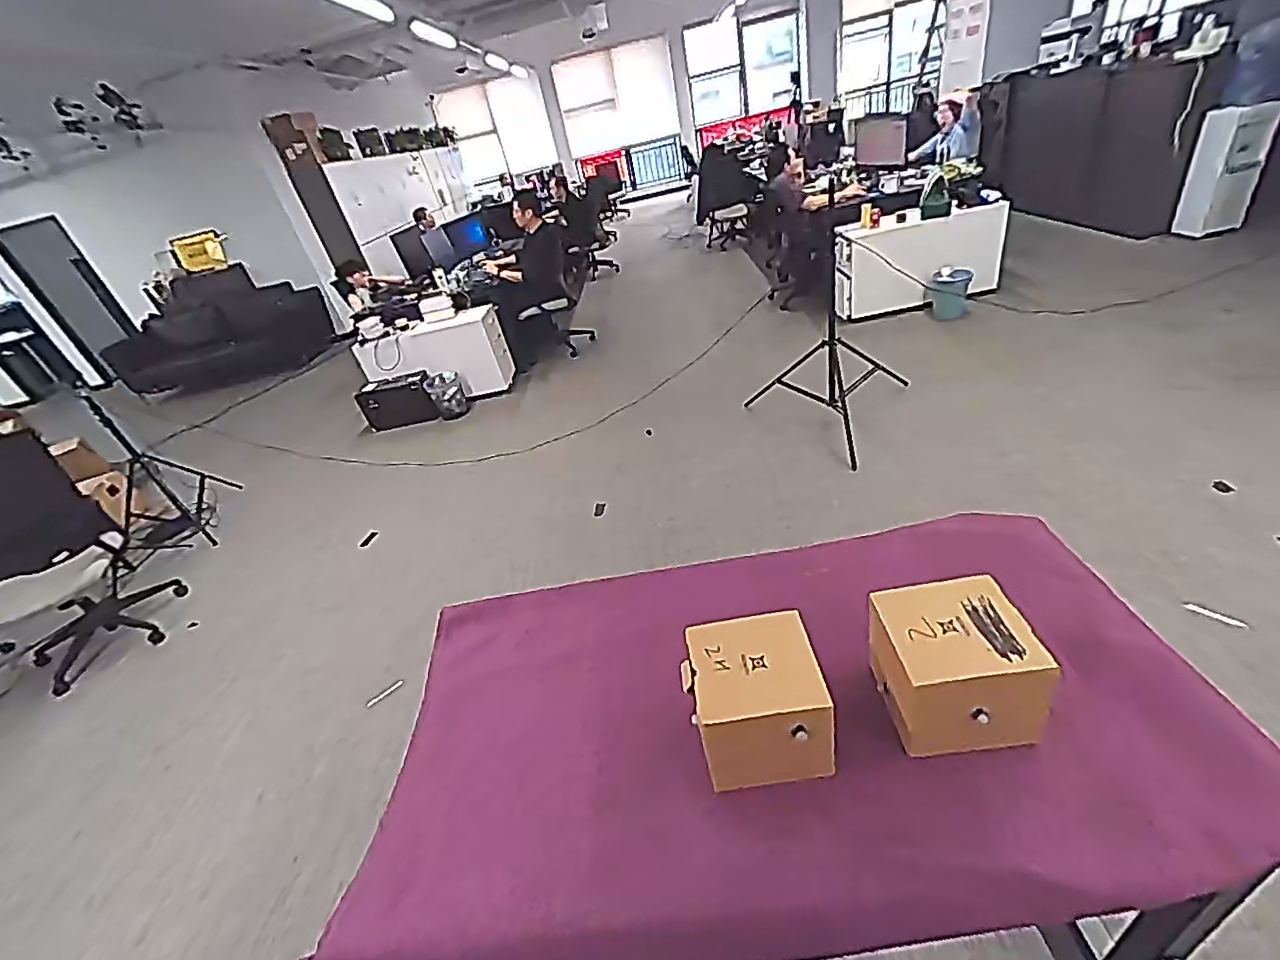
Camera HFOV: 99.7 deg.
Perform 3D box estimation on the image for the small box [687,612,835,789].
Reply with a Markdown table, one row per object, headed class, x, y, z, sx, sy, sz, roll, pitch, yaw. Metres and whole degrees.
| class | x | y | z | sx | sy | sz | roll | pitch | yaw |
| --- | --- | --- | --- | --- | --- | --- | --- | --- | --- |
| small box | 0.175 | 0.324 | 0.799 | 0.179 | 0.176 | 0.168 | -12 | 32 | 5 |
